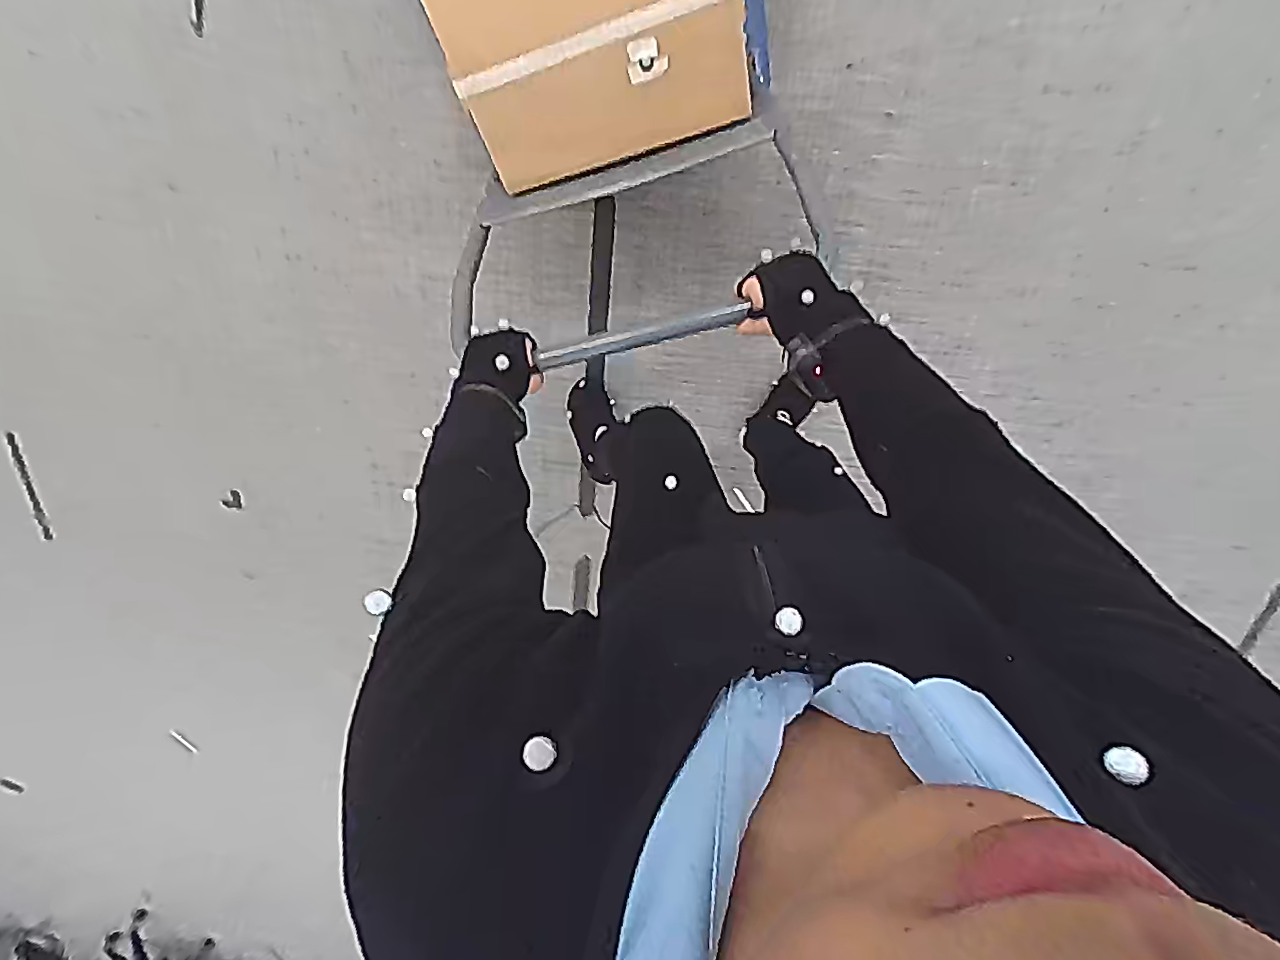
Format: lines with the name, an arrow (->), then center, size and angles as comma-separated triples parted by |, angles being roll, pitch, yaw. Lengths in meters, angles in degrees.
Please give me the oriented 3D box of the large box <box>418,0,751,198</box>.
large box -> -0.073, -0.709, 0.838 | 0.408, 0.320, 0.320 | -13, 136, 11
